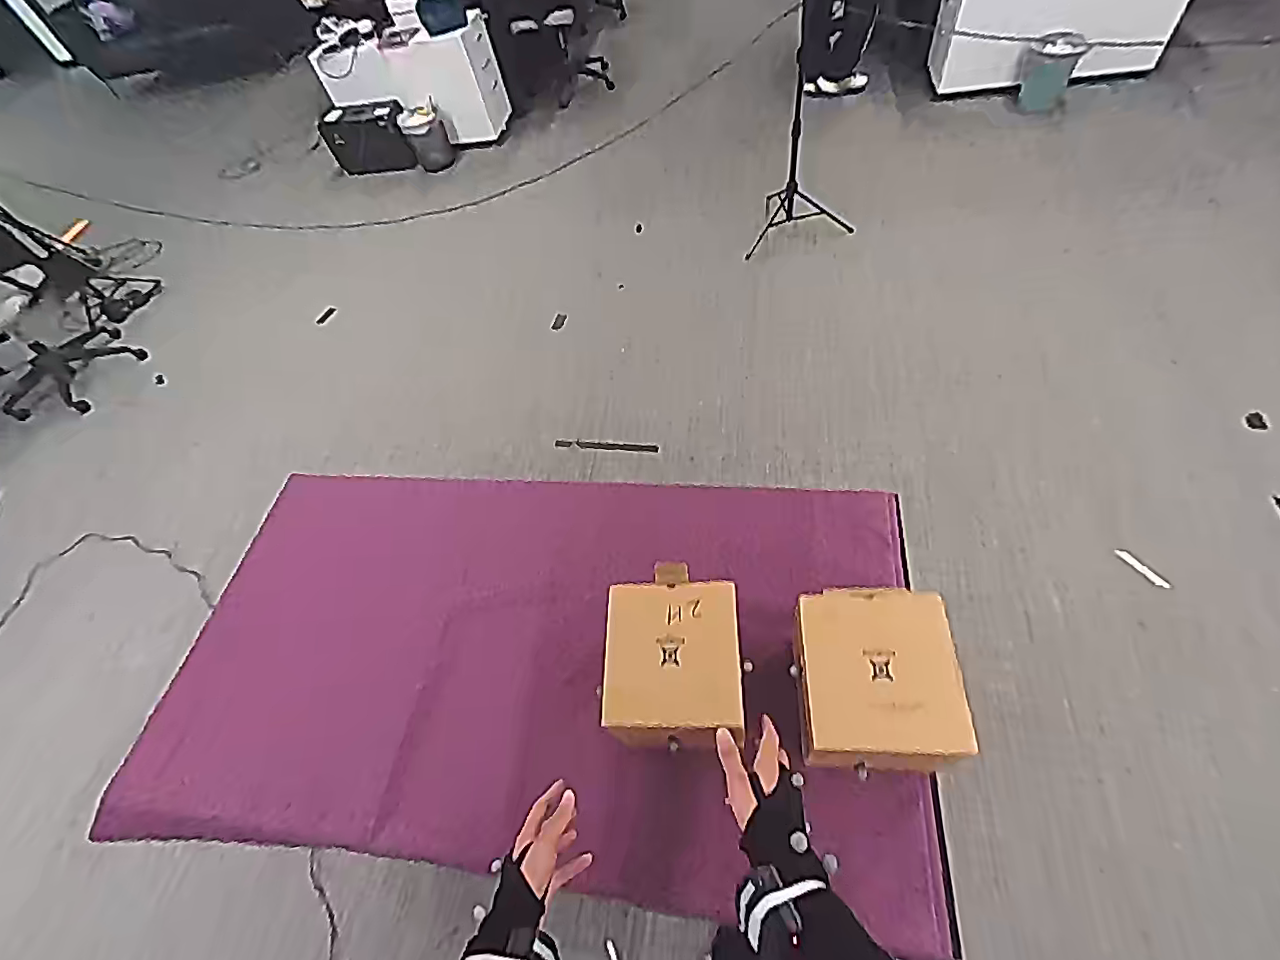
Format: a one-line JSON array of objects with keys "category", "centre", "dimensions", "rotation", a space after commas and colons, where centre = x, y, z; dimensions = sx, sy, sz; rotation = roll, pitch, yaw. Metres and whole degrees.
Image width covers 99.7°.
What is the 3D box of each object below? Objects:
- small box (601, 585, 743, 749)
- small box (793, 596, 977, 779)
[{"category": "small box", "centre": [0.051, 0.255, 0.726], "dimensions": [0.168, 0.176, 0.179], "rotation": [-3, 56, 9]}, {"category": "small box", "centre": [0.285, 0.260, 0.677], "dimensions": [0.168, 0.176, 0.179], "rotation": [-2, 55, 11]}]
